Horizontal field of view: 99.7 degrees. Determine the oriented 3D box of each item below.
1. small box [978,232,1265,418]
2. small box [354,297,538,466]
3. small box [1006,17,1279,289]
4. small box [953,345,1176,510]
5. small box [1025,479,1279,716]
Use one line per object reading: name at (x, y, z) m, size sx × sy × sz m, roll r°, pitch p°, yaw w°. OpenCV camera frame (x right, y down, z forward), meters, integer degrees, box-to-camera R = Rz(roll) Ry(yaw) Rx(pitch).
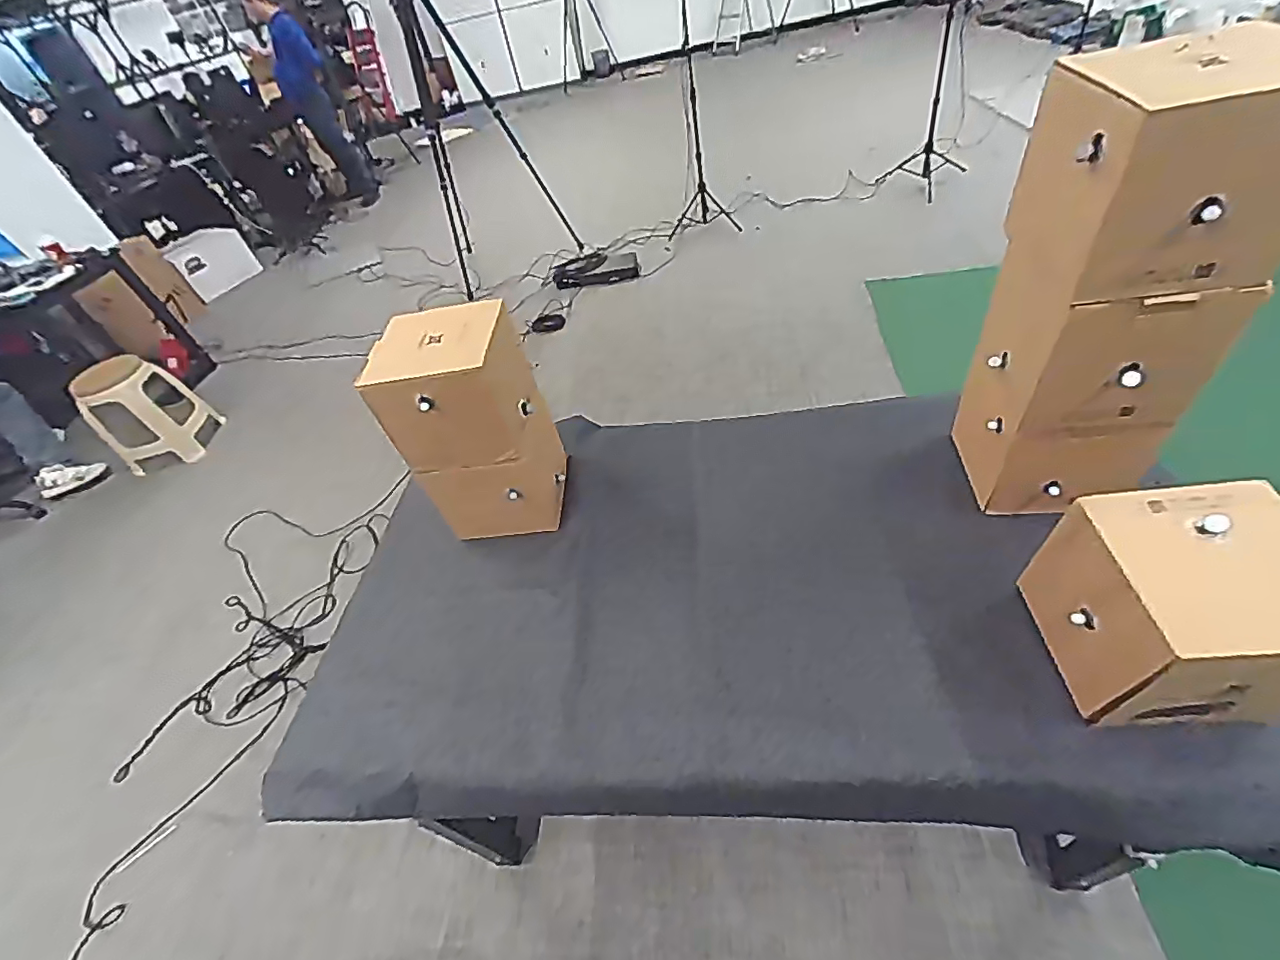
small box at (0.521, -0.184, 0.624) m, size 0.168 × 0.176 × 0.179 m, roll -3°, pitch 48°, yaw 12°
small box at (-0.264, -0.136, 0.781) m, size 0.179 × 0.176 × 0.168 m, roll -7°, pitch 48°, yaw 6°
small box at (0.483, -0.294, 0.507) m, size 0.168 × 0.176 × 0.179 m, roll -4°, pitch 47°, yaw 11°
small box at (0.556, -0.078, 0.745) m, size 0.168 × 0.176 × 0.179 m, roll -3°, pitch 48°, yaw 12°
small box at (0.525, 0.120, 0.538) m, size 0.168 × 0.179 × 0.176 m, roll -6°, pitch 49°, yaw 8°
